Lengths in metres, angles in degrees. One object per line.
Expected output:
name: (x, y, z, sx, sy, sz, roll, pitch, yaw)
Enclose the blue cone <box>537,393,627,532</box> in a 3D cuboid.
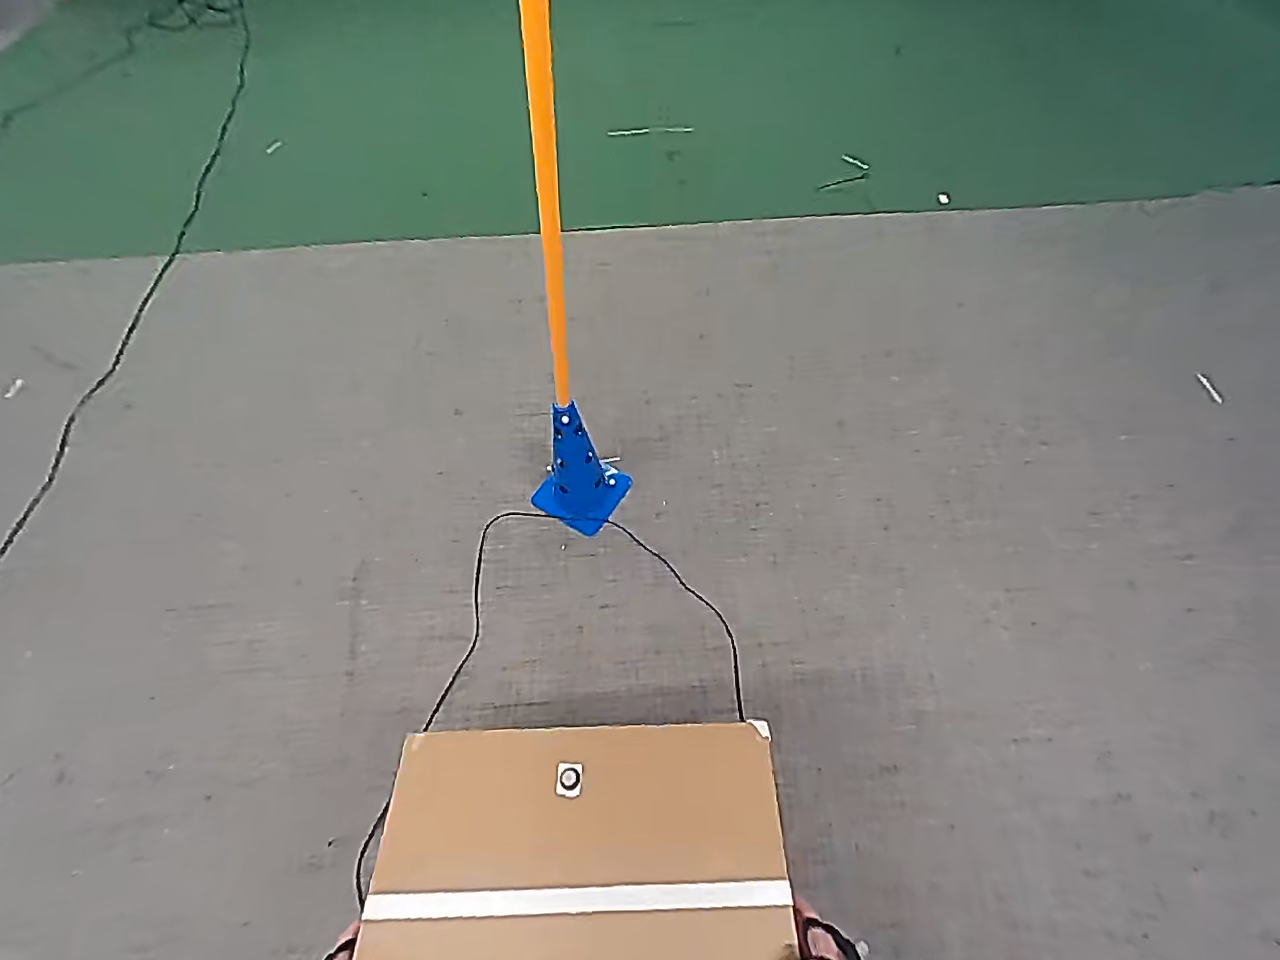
blue cone: (-0.146, -0.063, 1.222, 0.192, 0.380, 0.193, 26, 61, 15)
